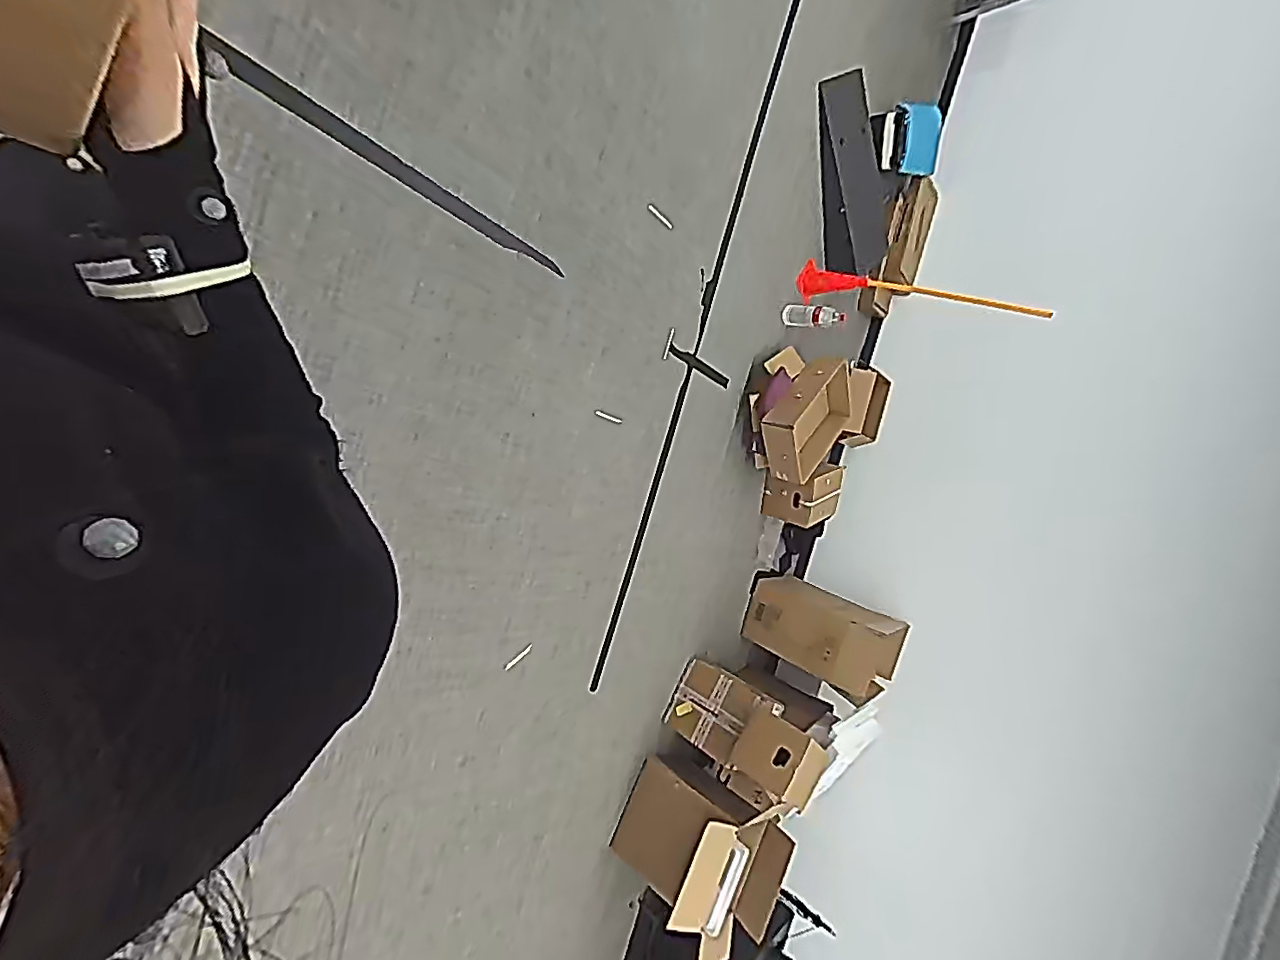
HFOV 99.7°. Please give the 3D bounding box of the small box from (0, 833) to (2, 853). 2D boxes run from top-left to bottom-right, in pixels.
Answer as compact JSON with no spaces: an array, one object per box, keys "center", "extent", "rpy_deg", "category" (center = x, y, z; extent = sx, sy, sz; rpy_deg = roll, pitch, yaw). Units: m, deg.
[{"center":[-1.303,0.700,0.981],"extent":[0.179,0.176,0.168],"rpy_deg":[5,100,-51],"category":"small box"}]
